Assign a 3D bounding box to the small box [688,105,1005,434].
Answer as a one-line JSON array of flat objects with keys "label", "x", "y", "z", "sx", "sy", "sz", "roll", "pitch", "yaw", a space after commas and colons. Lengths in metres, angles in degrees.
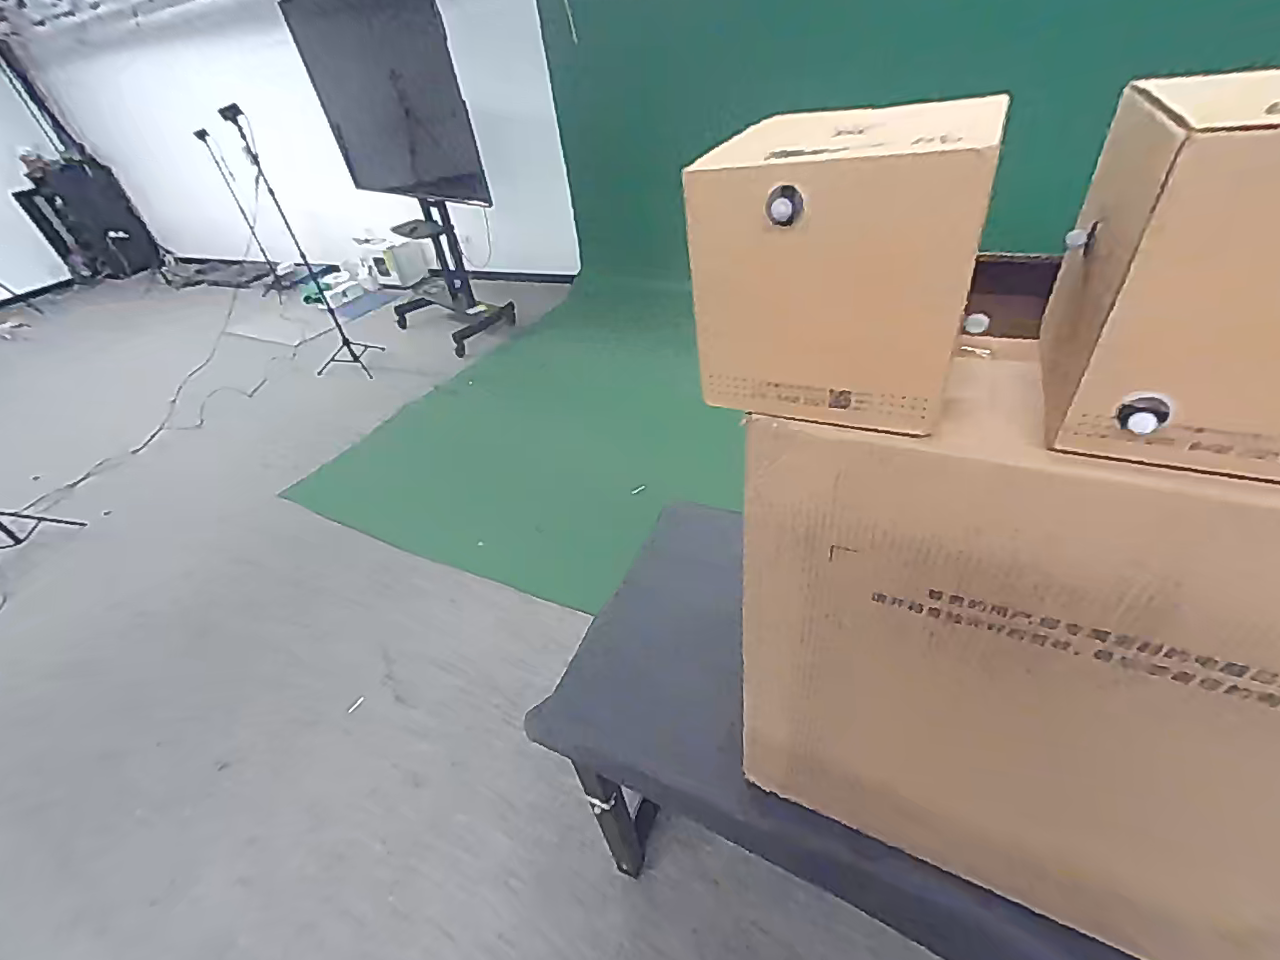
[{"label": "small box", "x": 0.149, "y": -0.157, "z": 0.398, "sx": 0.168, "sy": 0.176, "sz": 0.179, "roll": 12, "pitch": 42, "yaw": 28}]
